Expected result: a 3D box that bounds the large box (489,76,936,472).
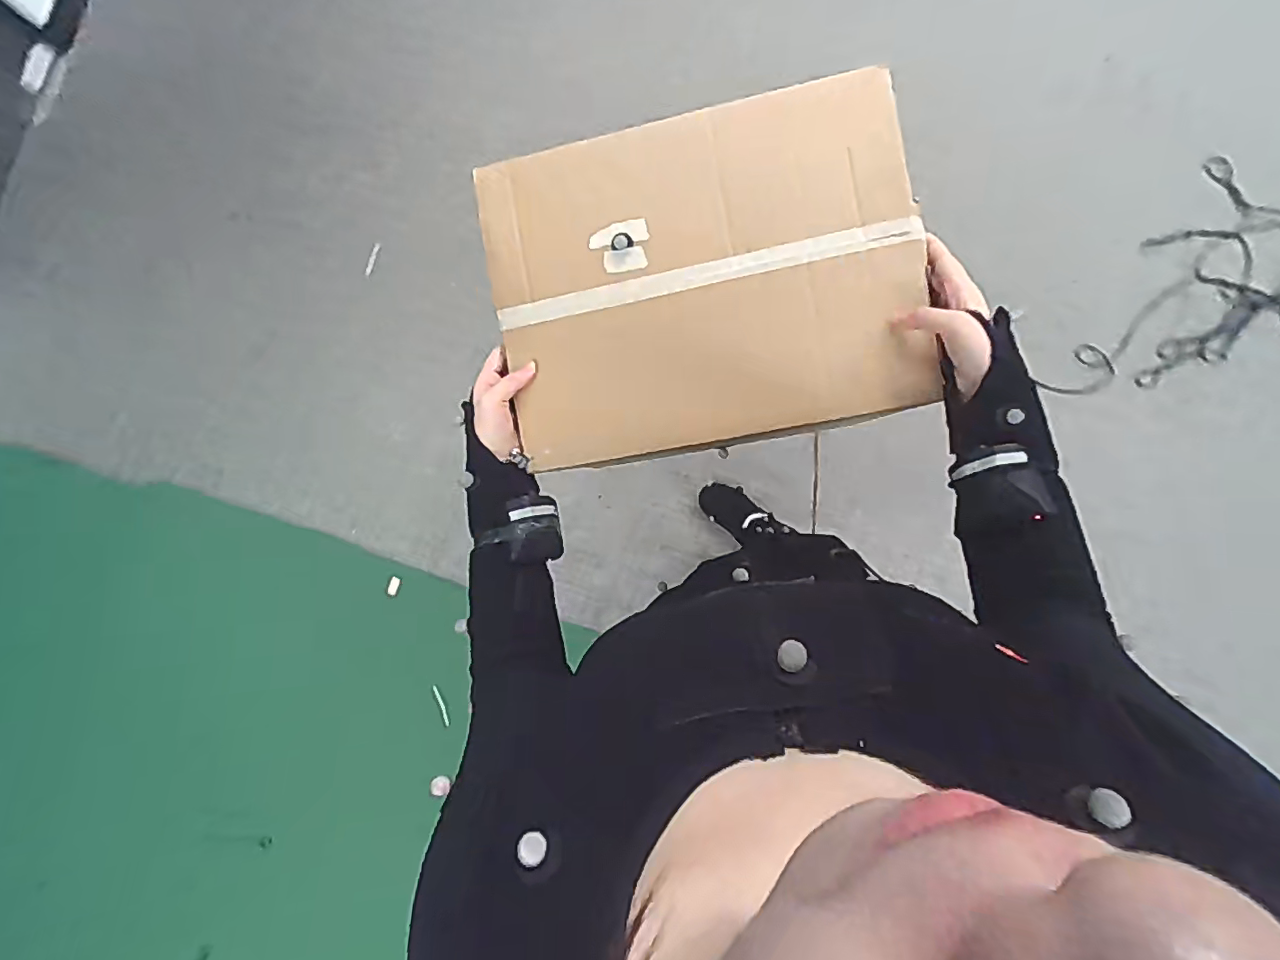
[{"bbox_3d":[0.084,-0.199,0.679,0.408,0.320,0.320,-9,90,9],"label":"large box"}]
